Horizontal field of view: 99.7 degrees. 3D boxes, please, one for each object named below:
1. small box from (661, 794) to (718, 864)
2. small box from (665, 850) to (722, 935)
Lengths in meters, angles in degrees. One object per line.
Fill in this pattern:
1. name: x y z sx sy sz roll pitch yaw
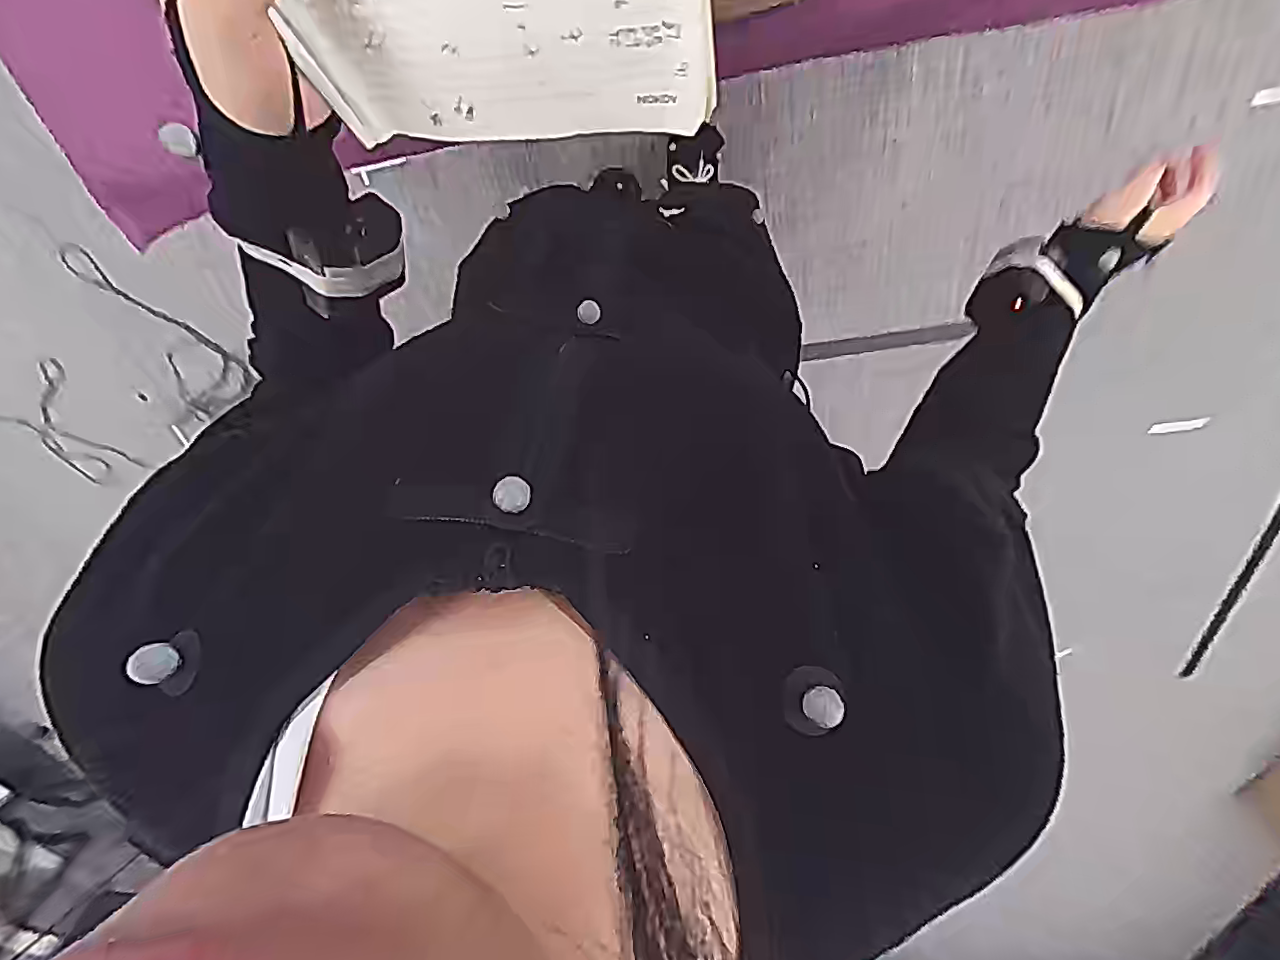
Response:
1. small box: 0.165 1.181 1.814 0.179 0.176 0.168 -6 125 4
2. small box: 0.166 1.284 1.685 0.168 0.176 0.179 -4 125 3
